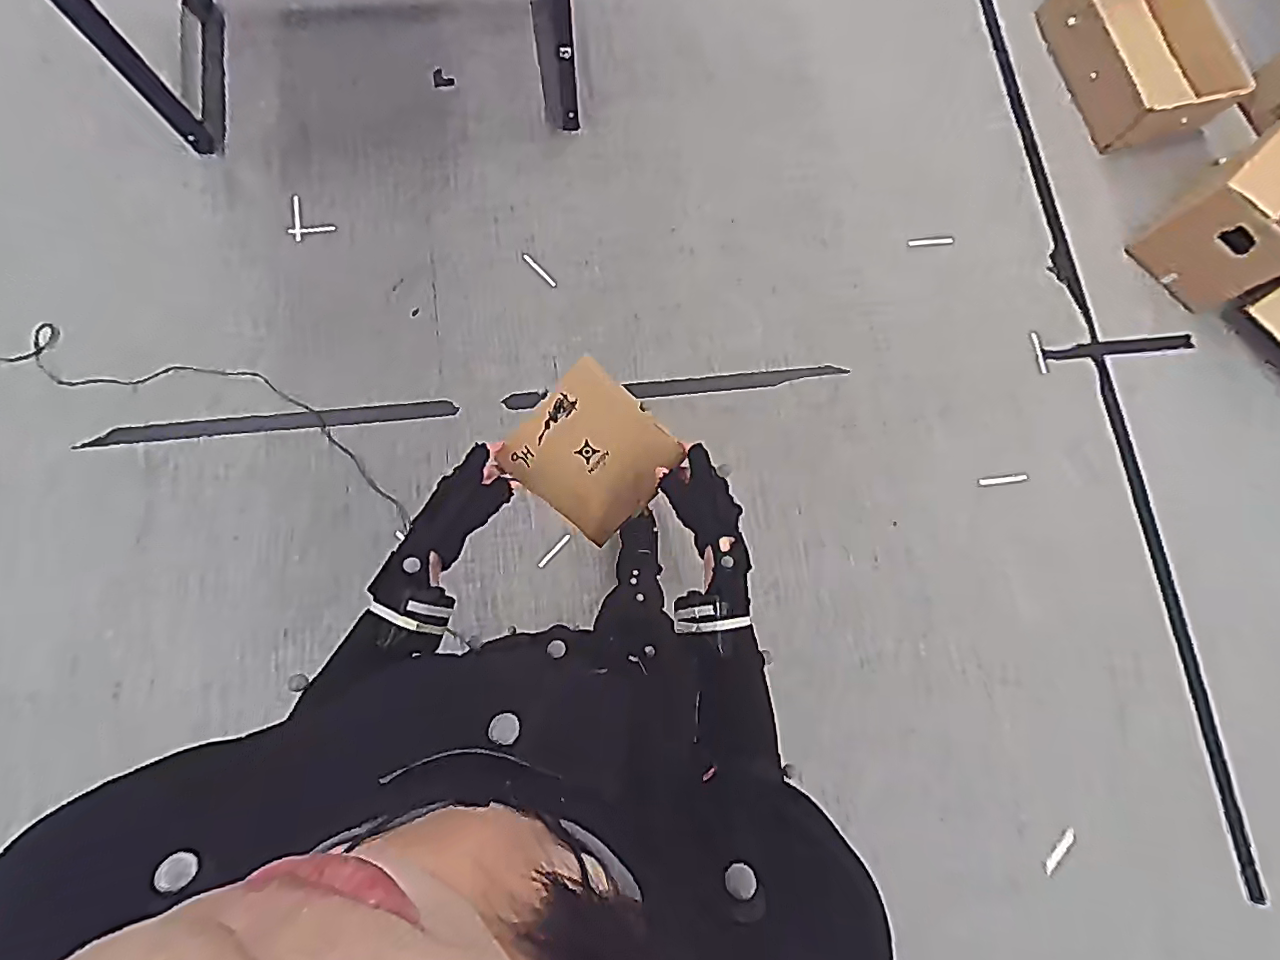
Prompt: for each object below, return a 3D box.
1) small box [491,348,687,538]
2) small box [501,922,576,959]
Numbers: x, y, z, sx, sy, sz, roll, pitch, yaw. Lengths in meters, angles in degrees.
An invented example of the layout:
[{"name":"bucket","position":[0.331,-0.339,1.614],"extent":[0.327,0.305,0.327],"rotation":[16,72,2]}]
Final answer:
[{"name":"small box","position":[-0.065,-0.060,0.714],"extent":[0.179,0.176,0.168],"rotation":[41,97,-13]},{"name":"small box","position":[-0.227,1.183,1.238],"extent":[0.168,0.176,0.179],"rotation":[-26,81,-8]}]
